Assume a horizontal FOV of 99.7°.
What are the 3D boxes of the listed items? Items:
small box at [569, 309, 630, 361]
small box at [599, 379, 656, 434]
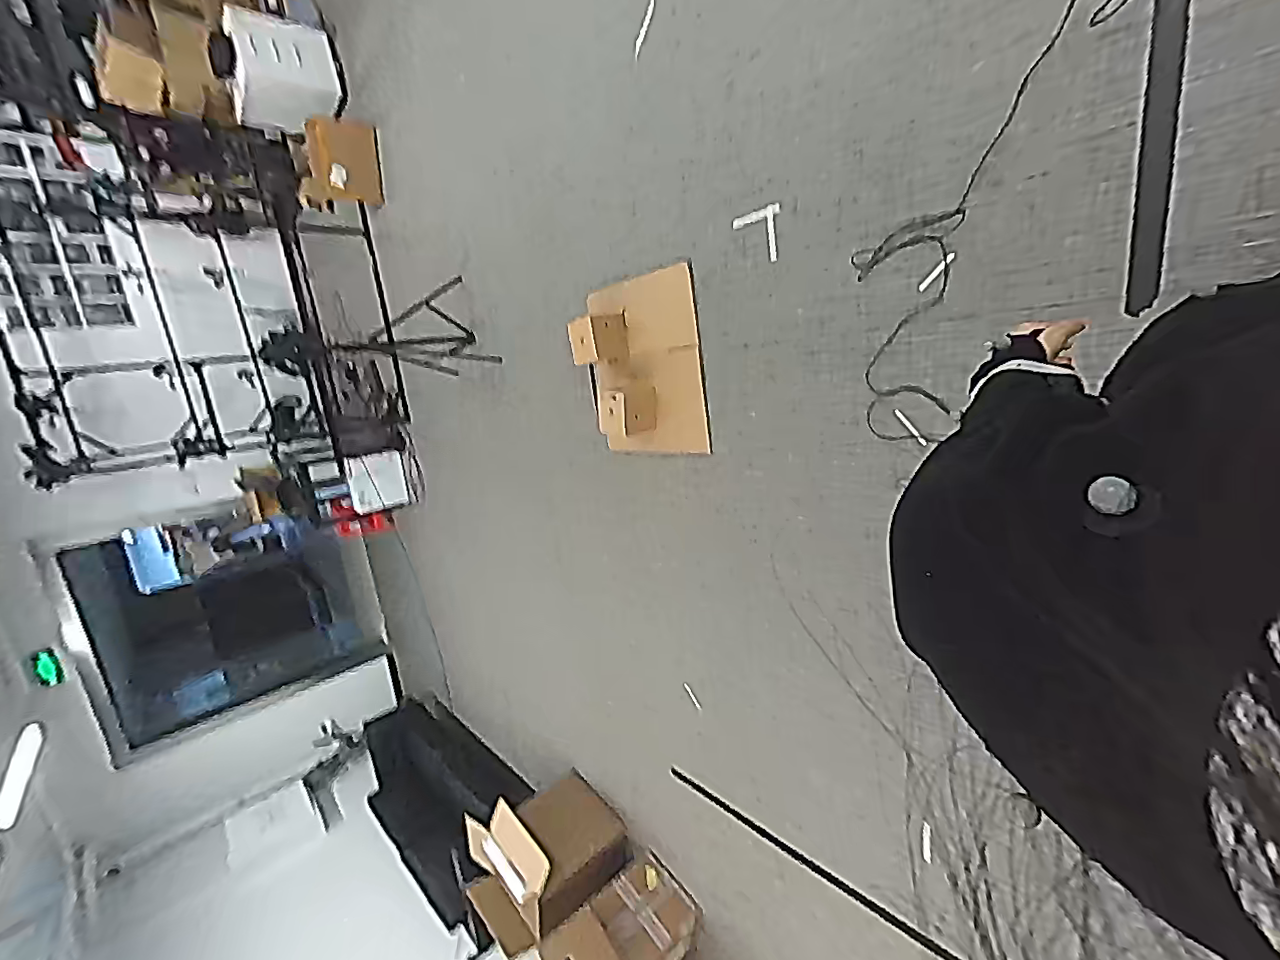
[{"bbox_3d":[-0.163,-0.593,2.211,0.168,0.176,0.179,0,103,50],"label":"small box"},{"bbox_3d":[-0.047,-0.301,2.181,0.168,0.176,0.179,18,118,44],"label":"small box"}]
